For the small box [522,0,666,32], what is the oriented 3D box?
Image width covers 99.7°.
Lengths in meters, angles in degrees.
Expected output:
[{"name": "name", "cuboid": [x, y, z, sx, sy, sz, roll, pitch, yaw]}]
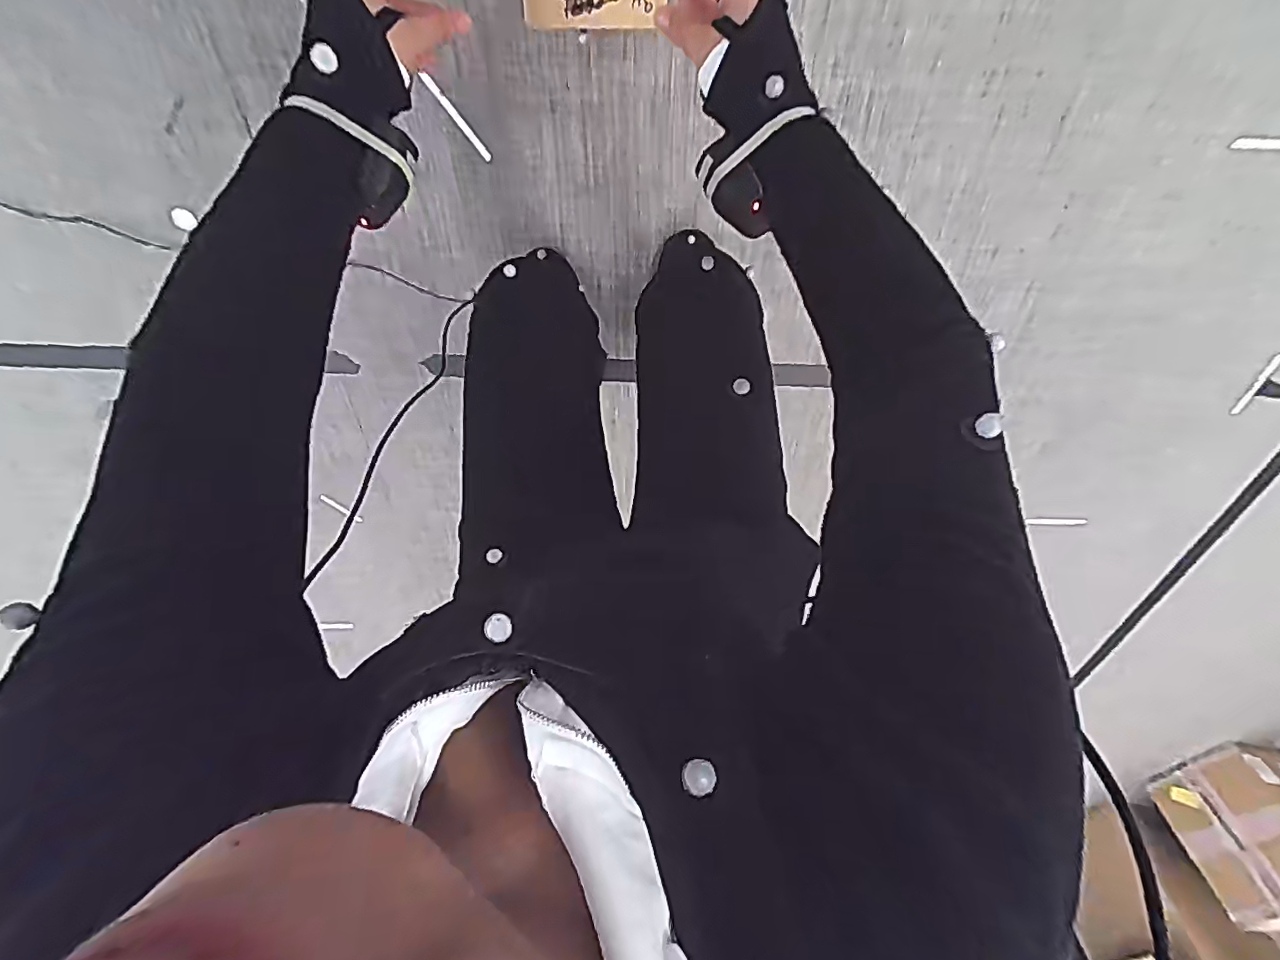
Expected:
[{"name": "small box", "cuboid": [-0.052, -0.646, 0.635, 0.168, 0.176, 0.179, 0, 128, 0]}]
